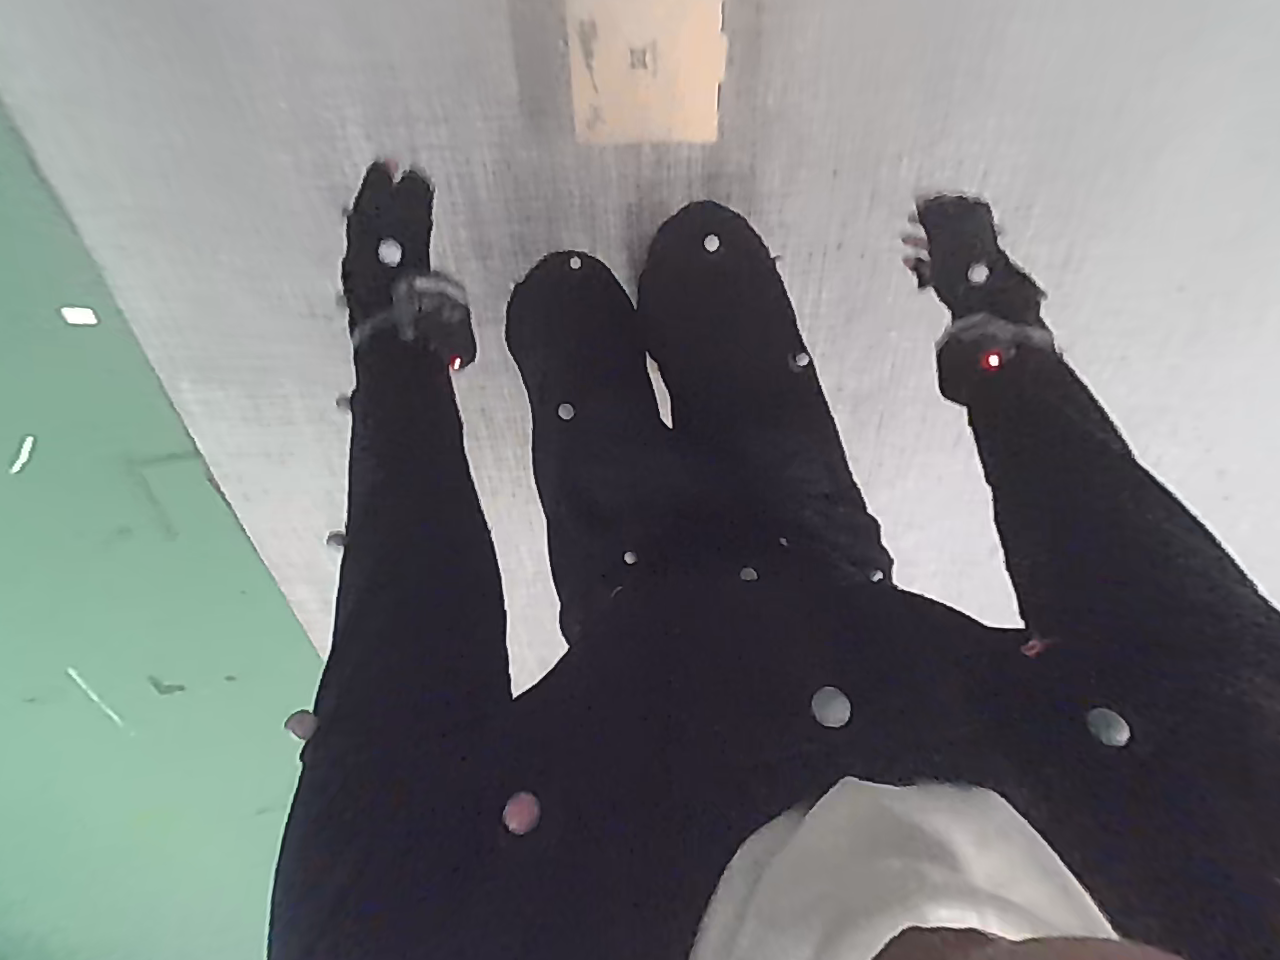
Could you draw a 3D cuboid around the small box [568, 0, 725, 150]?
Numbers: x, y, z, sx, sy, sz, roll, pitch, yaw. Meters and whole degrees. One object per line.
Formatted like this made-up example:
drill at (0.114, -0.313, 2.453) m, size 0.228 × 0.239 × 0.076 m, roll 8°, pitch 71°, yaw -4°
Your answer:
small box at (0.004, -0.524, 0.692) m, size 0.179 × 0.176 × 0.168 m, roll -2°, pitch 123°, yaw -1°
